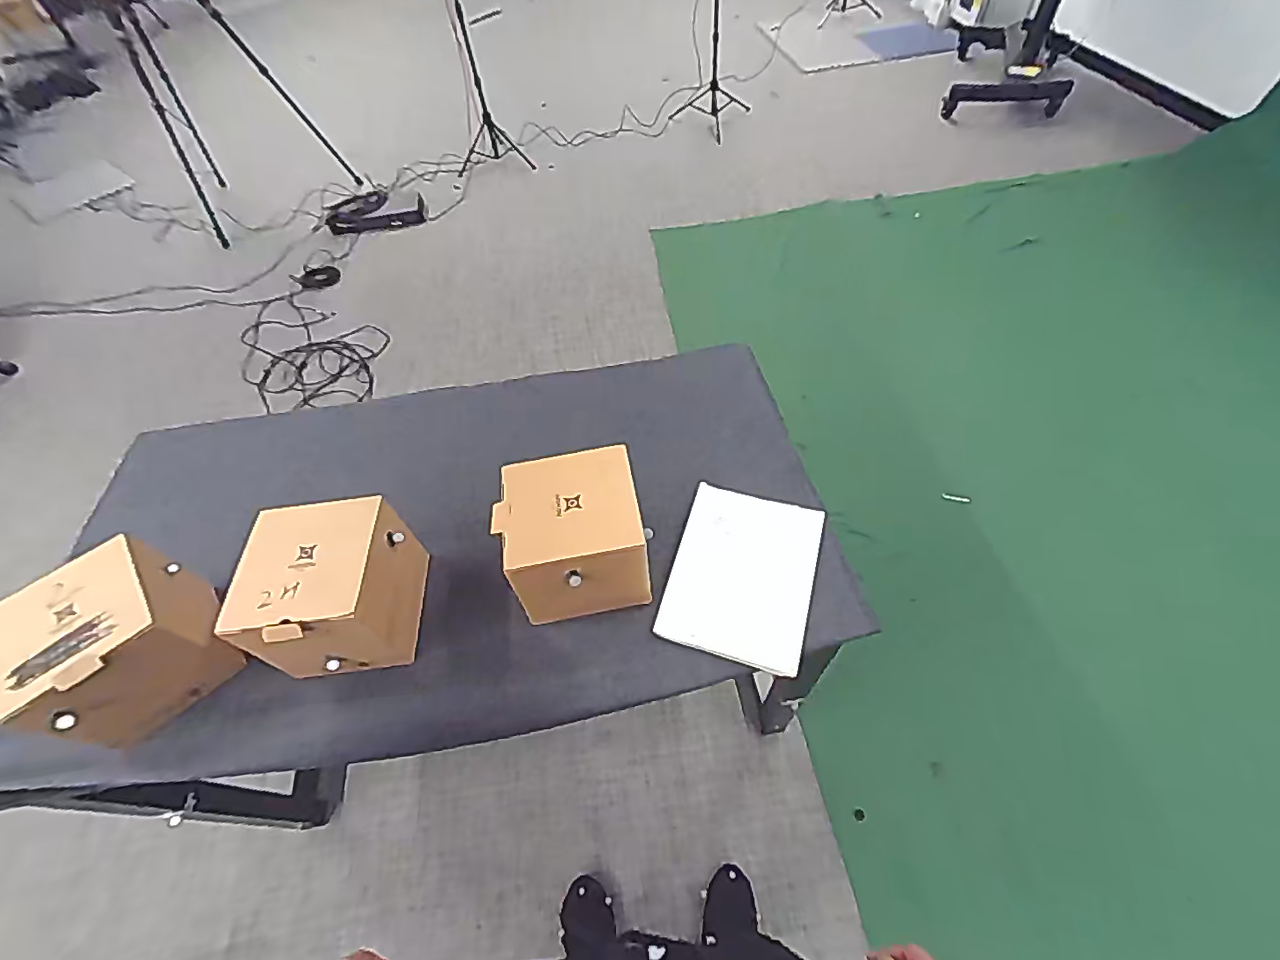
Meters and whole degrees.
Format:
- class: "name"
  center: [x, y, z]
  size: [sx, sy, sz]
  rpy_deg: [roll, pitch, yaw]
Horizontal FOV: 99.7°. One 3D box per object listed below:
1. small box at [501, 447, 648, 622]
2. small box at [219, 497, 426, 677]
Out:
- class: "small box"
  center: [-0.086, 0.080, 0.758]
  size: [0.179, 0.176, 0.168]
  rpy_deg: [-11, 53, -2]
- class: "small box"
  center: [-0.409, 0.148, 0.738]
  size: [0.168, 0.176, 0.179]
  rpy_deg: [-8, 53, 0]
